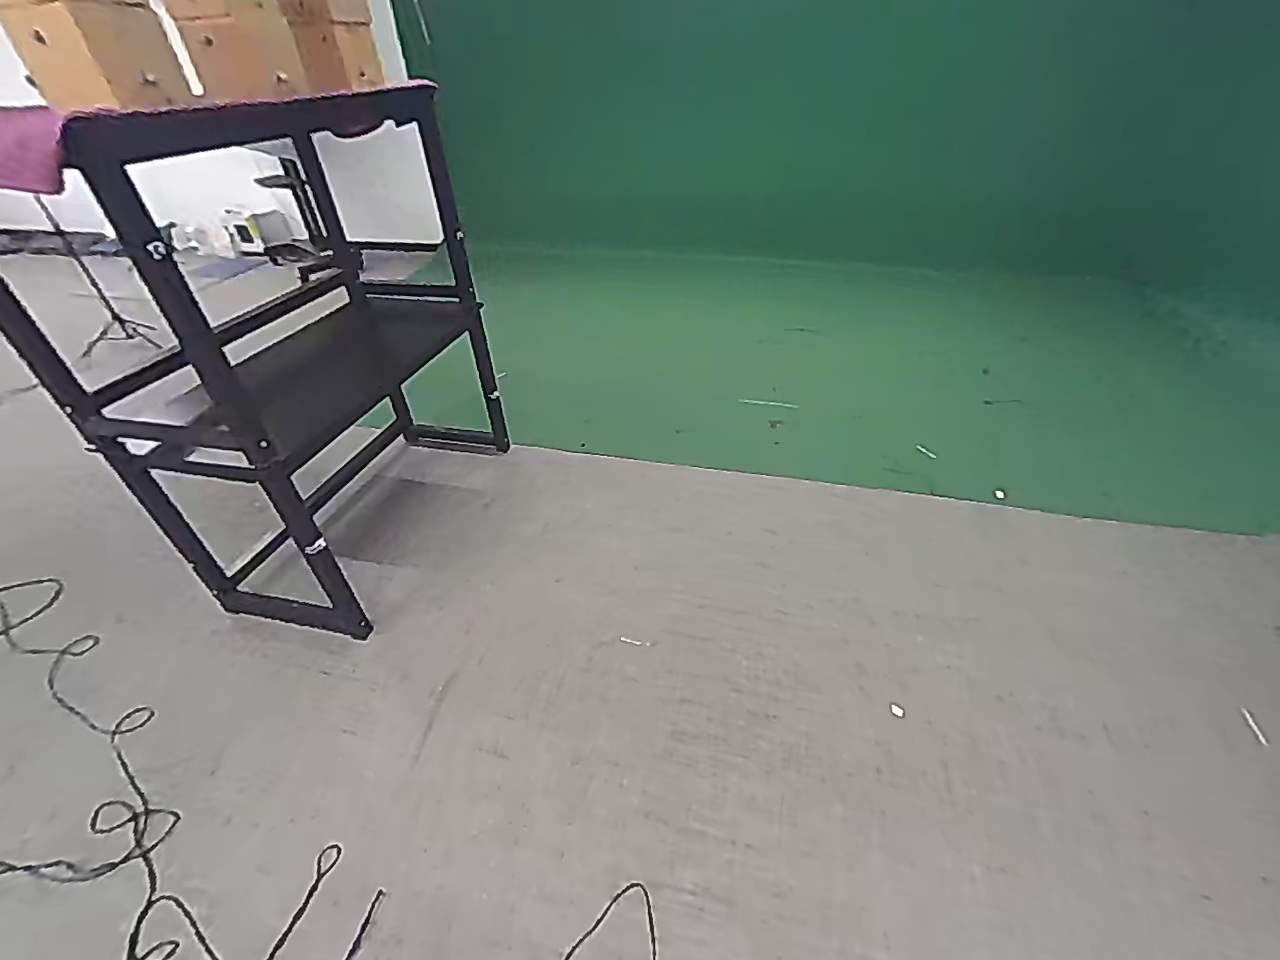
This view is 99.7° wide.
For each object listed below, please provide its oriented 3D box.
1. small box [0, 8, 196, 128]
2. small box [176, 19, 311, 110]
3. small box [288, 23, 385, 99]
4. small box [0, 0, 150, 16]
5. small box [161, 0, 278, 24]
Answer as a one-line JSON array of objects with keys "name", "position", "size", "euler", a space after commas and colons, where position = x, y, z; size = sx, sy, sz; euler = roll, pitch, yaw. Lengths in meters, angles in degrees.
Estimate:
[{"name": "small box", "position": [-1.036, -0.793, 1.050], "size": [0.179, 0.176, 0.168], "euler": [6, 40, 12]}, {"name": "small box", "position": [-0.968, -1.023, 1.337], "size": [0.179, 0.176, 0.168], "euler": [8, 40, 12]}, {"name": "small box", "position": [-0.895, -1.232, 1.594], "size": [0.179, 0.176, 0.168], "euler": [9, 40, 12]}, {"name": "small box", "position": [-1.043, -0.922, 0.951], "size": [0.179, 0.176, 0.168], "euler": [8, 40, 14]}, {"name": "small box", "position": [-0.984, -1.153, 1.238], "size": [0.179, 0.176, 0.168], "euler": [8, 40, 12]}]
